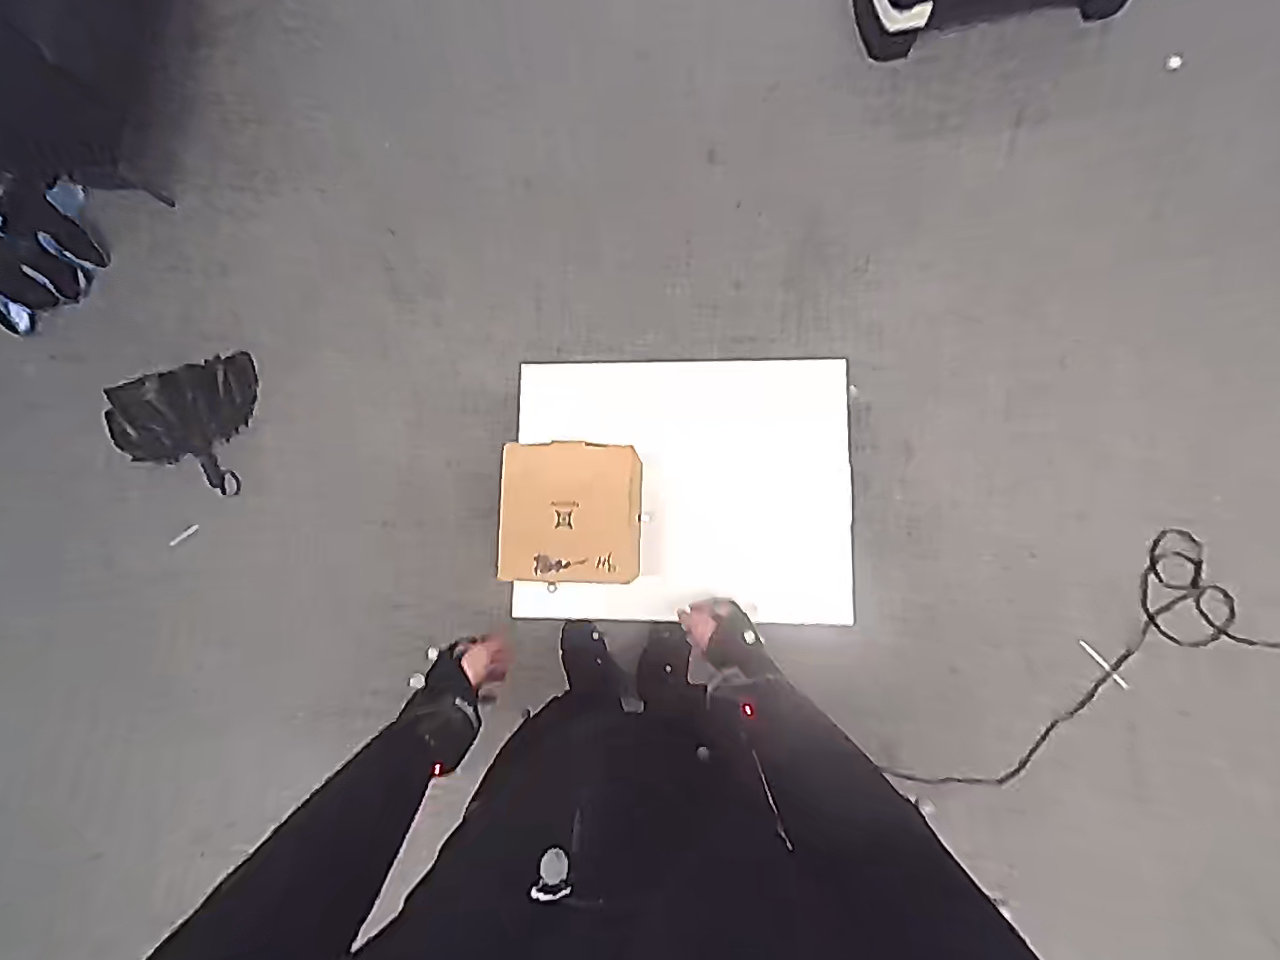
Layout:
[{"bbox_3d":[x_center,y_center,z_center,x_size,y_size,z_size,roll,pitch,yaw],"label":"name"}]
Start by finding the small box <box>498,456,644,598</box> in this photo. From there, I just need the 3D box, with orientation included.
[{"bbox_3d":[-0.084,0.070,0.749,0.168,0.176,0.179,0,81,5],"label":"small box"}]
